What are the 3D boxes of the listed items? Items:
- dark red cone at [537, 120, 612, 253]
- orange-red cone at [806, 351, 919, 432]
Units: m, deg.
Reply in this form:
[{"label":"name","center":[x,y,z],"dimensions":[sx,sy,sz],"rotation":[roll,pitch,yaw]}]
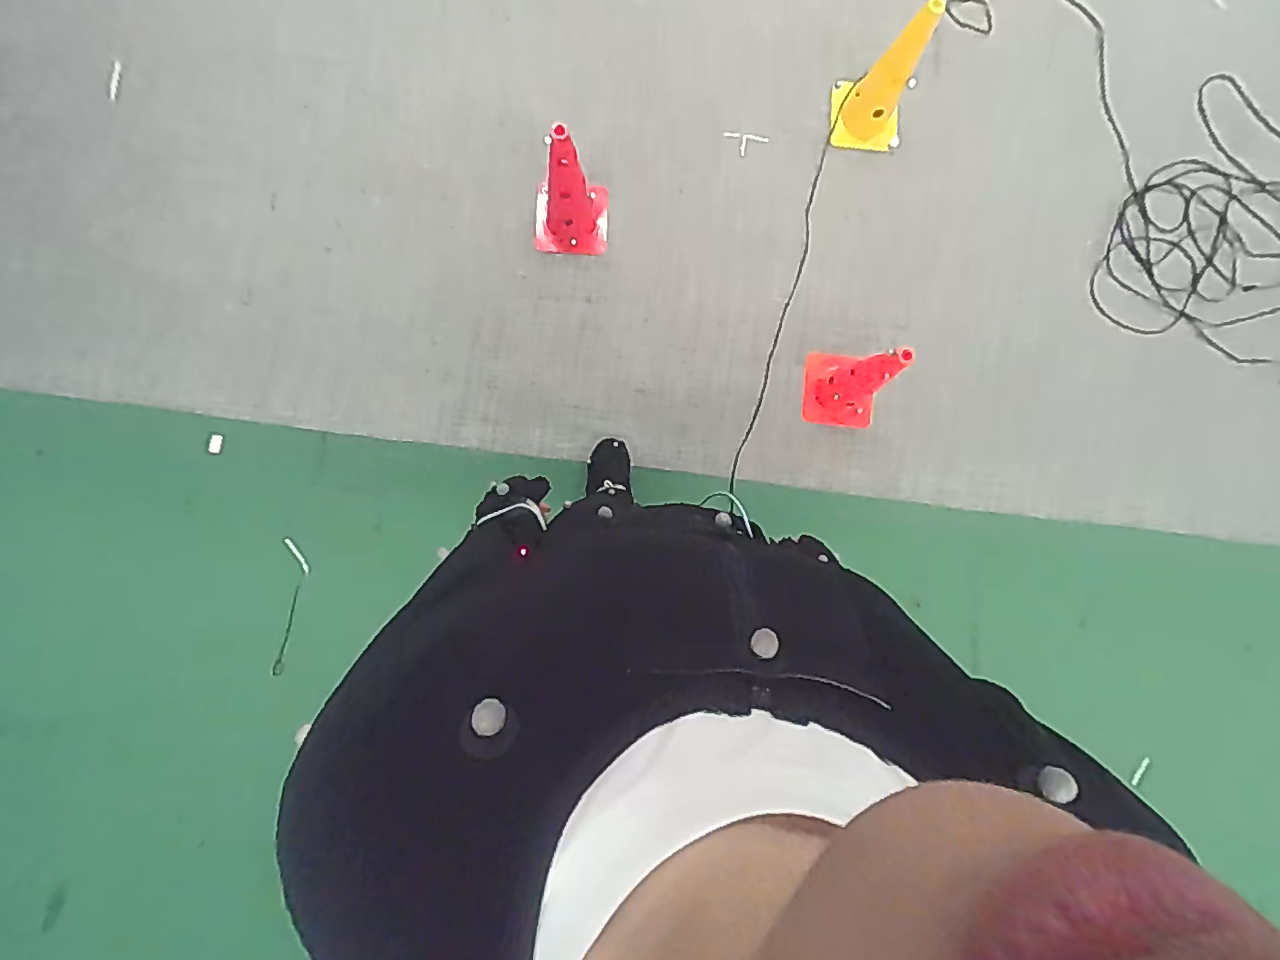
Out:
[{"label":"dark red cone","center":[-0.173,-0.734,1.330],"dimensions":[0.202,0.394,0.201],"rotation":[1,87,-3]},{"label":"orange-red cone","center":[0.580,-0.254,1.357],"dimensions":[0.198,0.360,0.199],"rotation":[7,85,-3]}]
